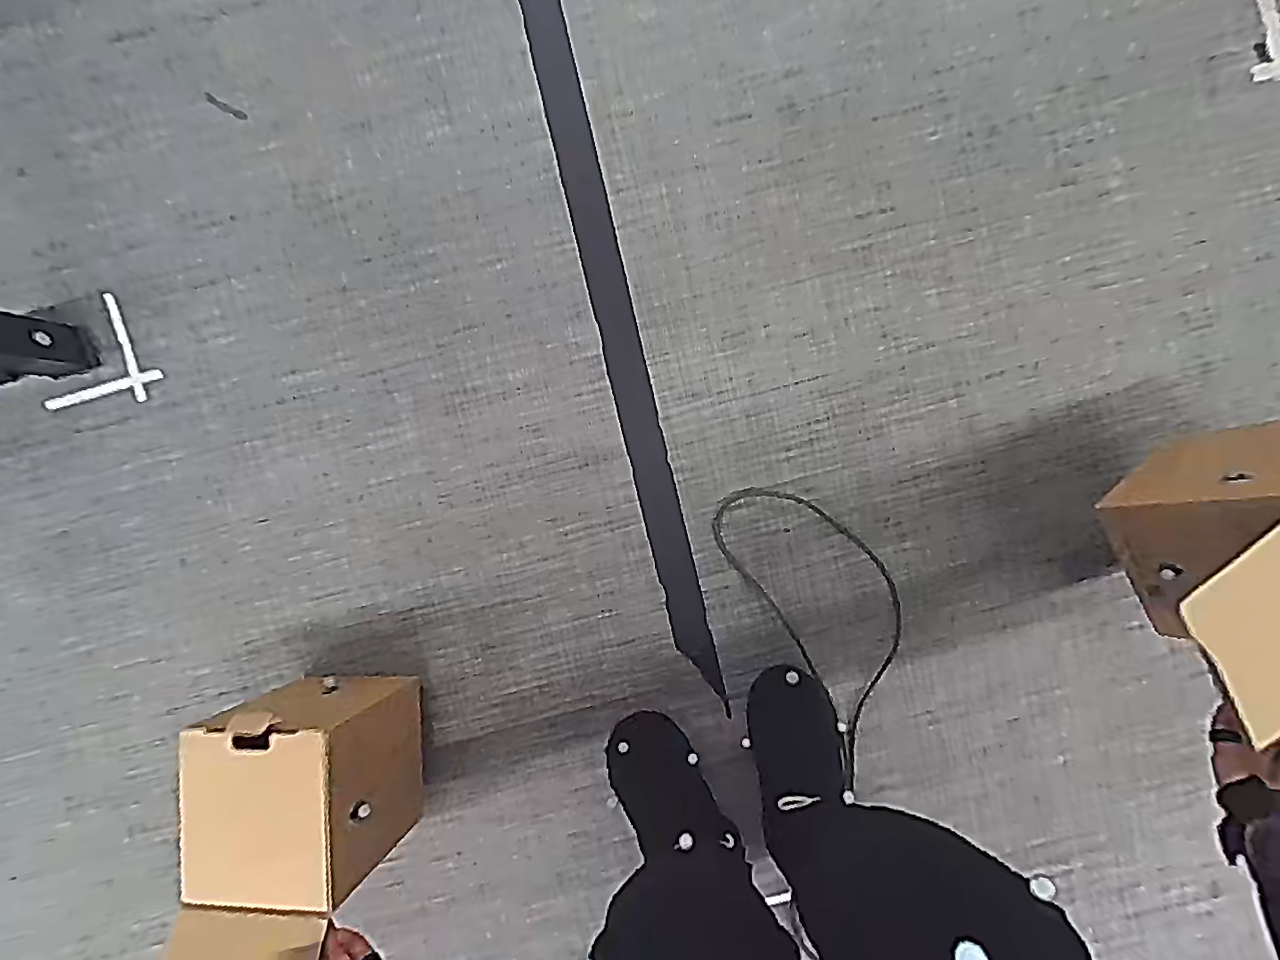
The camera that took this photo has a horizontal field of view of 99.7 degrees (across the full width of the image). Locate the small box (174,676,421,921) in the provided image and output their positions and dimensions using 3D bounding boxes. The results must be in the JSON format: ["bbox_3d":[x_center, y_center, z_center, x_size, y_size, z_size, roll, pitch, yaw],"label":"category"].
[{"bbox_3d":[-0.364,0.336,0.604,0.168,0.176,0.179,-4,90,9],"label":"small box"}]
